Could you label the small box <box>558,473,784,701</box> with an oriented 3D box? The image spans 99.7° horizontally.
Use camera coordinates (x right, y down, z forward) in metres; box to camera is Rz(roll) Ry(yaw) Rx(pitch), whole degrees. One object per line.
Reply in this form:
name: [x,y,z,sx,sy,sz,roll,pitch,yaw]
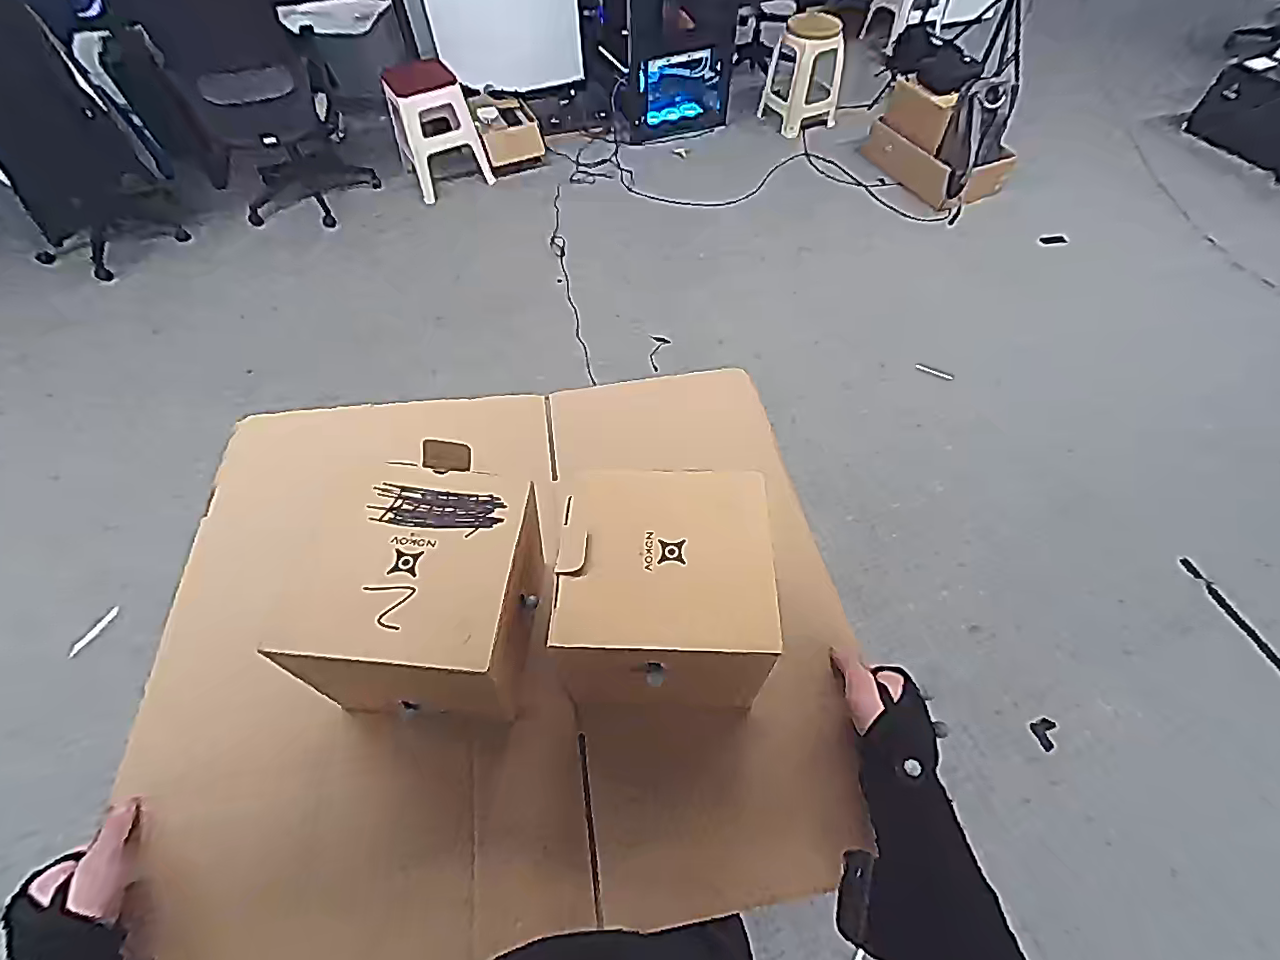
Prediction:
small box: [0.029,0.108,0.521,0.179,0.176,0.168,0,56,3]
